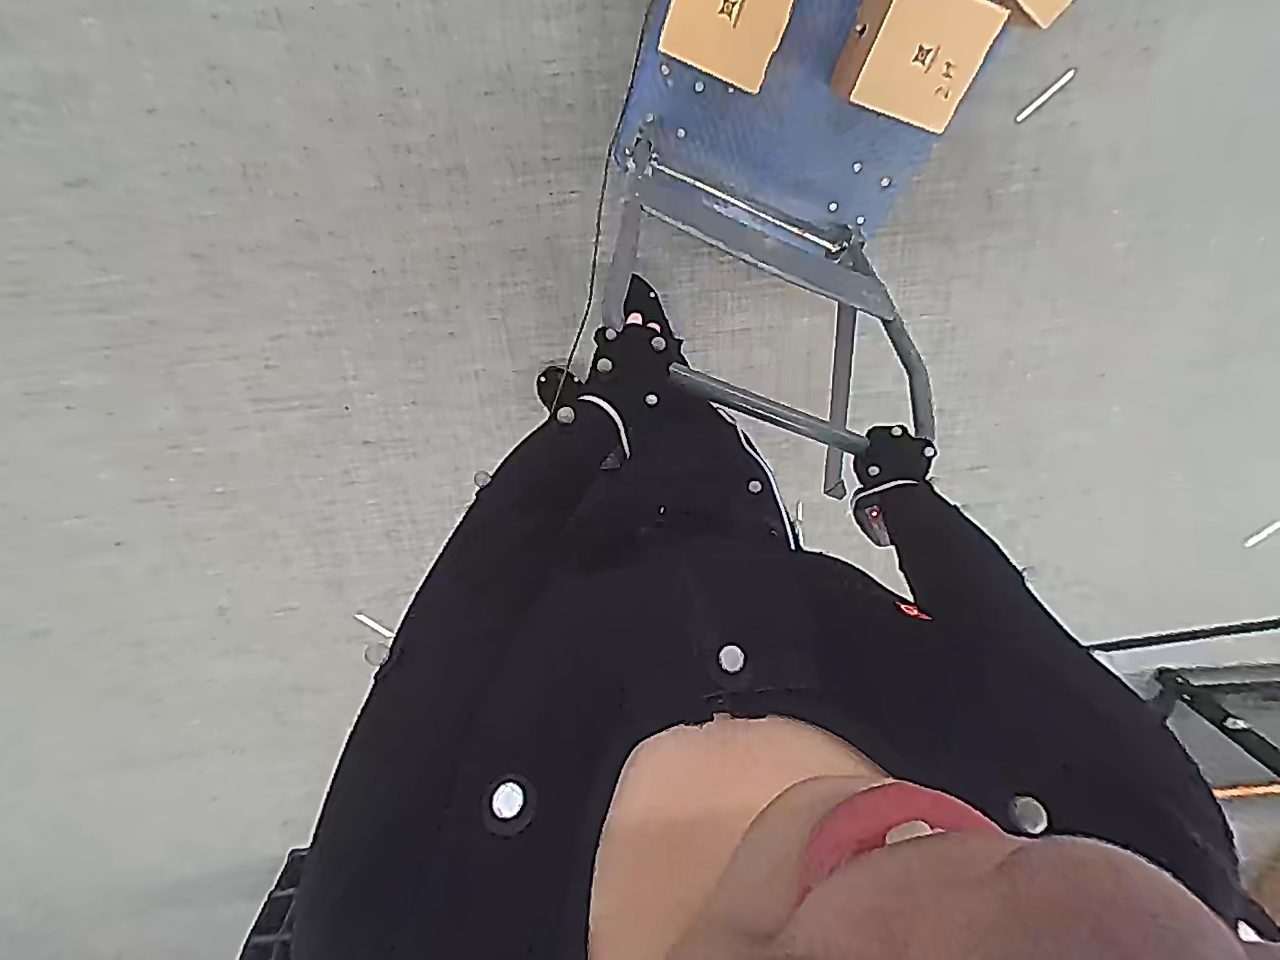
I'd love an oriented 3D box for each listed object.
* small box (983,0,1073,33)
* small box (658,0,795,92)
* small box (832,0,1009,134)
[{"bbox_3d":[0.584,-0.808,0.788,0.168,0.176,0.179,26,130,-19],"label":"small box"},{"bbox_3d":[0.137,-0.759,0.864,0.179,0.176,0.168,15,132,-12],"label":"small box"},{"bbox_3d":[0.443,-0.706,0.893,0.179,0.176,0.168,14,133,-9],"label":"small box"}]
